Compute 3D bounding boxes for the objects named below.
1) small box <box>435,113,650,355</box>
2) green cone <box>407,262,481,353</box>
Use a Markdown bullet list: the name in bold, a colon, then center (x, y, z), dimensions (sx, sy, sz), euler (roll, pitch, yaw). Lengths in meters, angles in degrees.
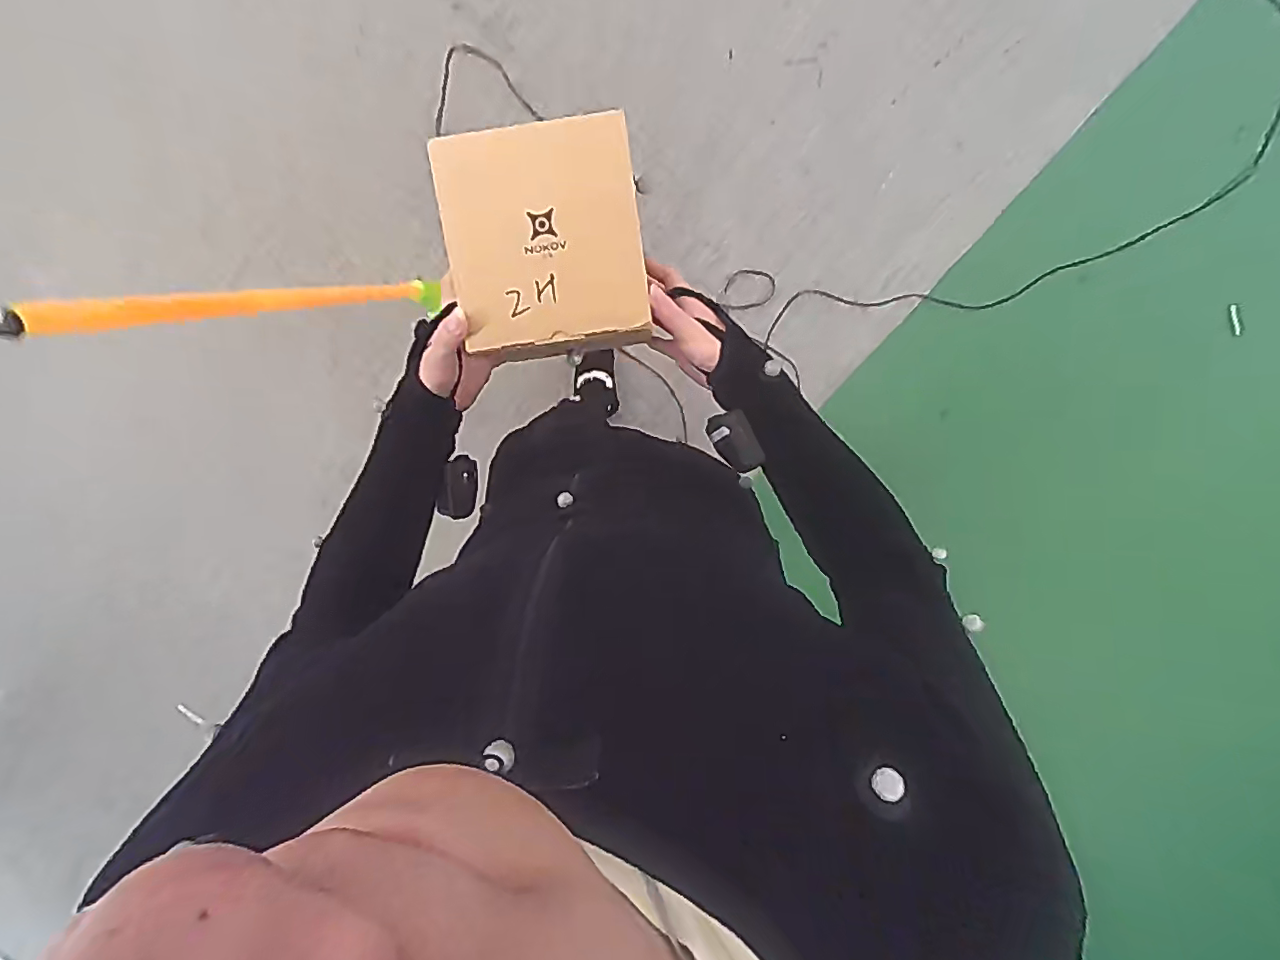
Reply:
- **small box**: center (-0.083, -0.226, 0.541), dimensions (0.168, 0.176, 0.179), euler (-7, 101, 1)
- **green cone**: center (-0.489, -0.455, 1.356), dimensions (0.200, 0.368, 0.202), euler (41, 99, -8)
